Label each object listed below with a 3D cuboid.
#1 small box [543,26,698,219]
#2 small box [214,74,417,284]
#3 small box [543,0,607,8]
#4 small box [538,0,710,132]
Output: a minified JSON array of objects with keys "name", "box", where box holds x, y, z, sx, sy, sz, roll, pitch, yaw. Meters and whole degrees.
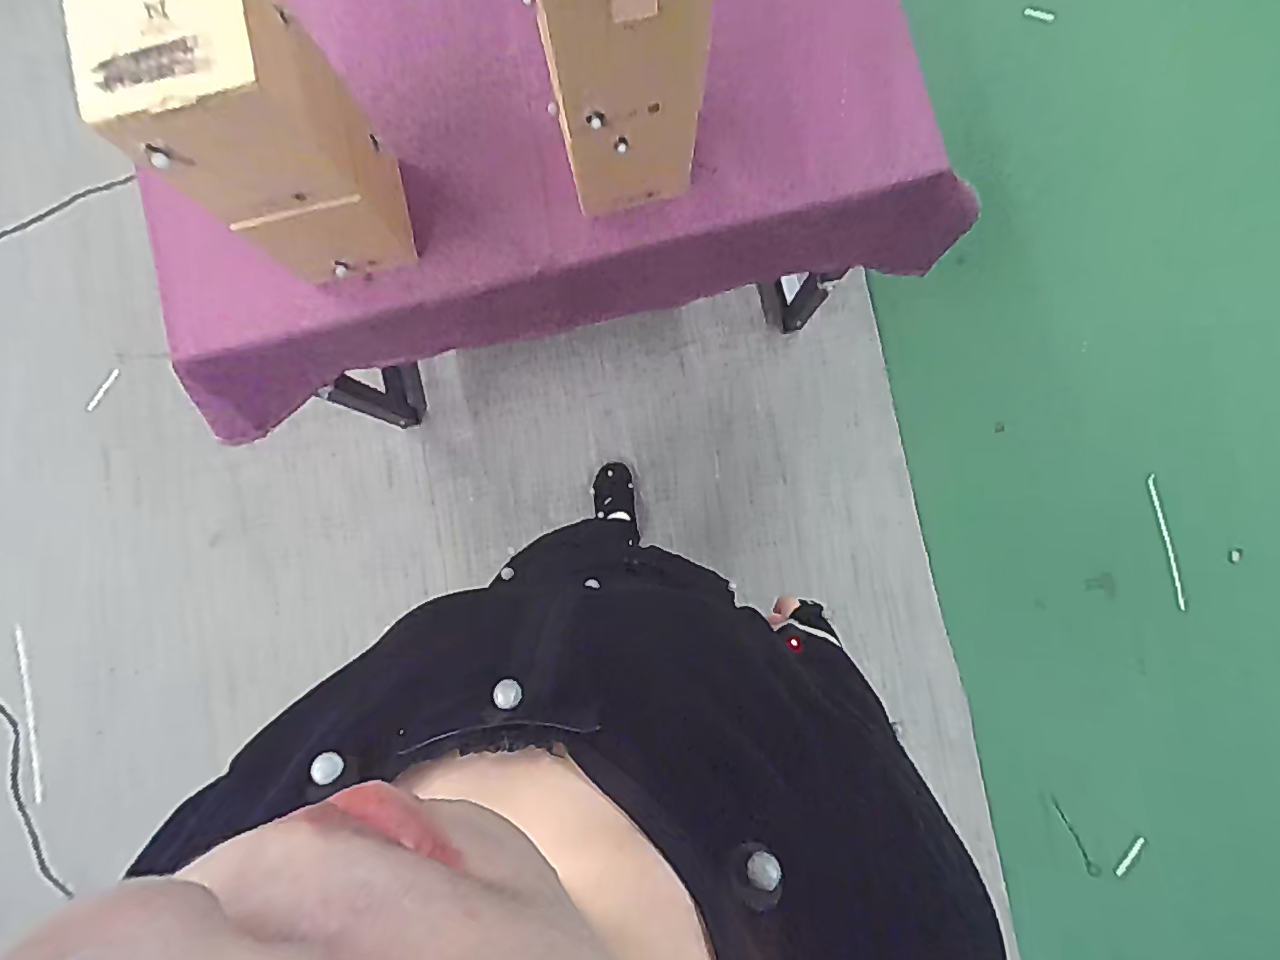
[{"name":"small box","box":[-0.024,-0.502,0.748,0.168,0.176,0.179,-14,85,1]},{"name":"small box","box":[-0.432,-0.400,0.745,0.168,0.176,0.179,-13,87,0]},{"name":"small box","box":[-0.023,-0.523,0.420,0.179,0.176,0.168,-13,87,-1]},{"name":"small box","box":[-0.024,-0.516,0.585,0.168,0.176,0.179,-14,85,-1]}]
